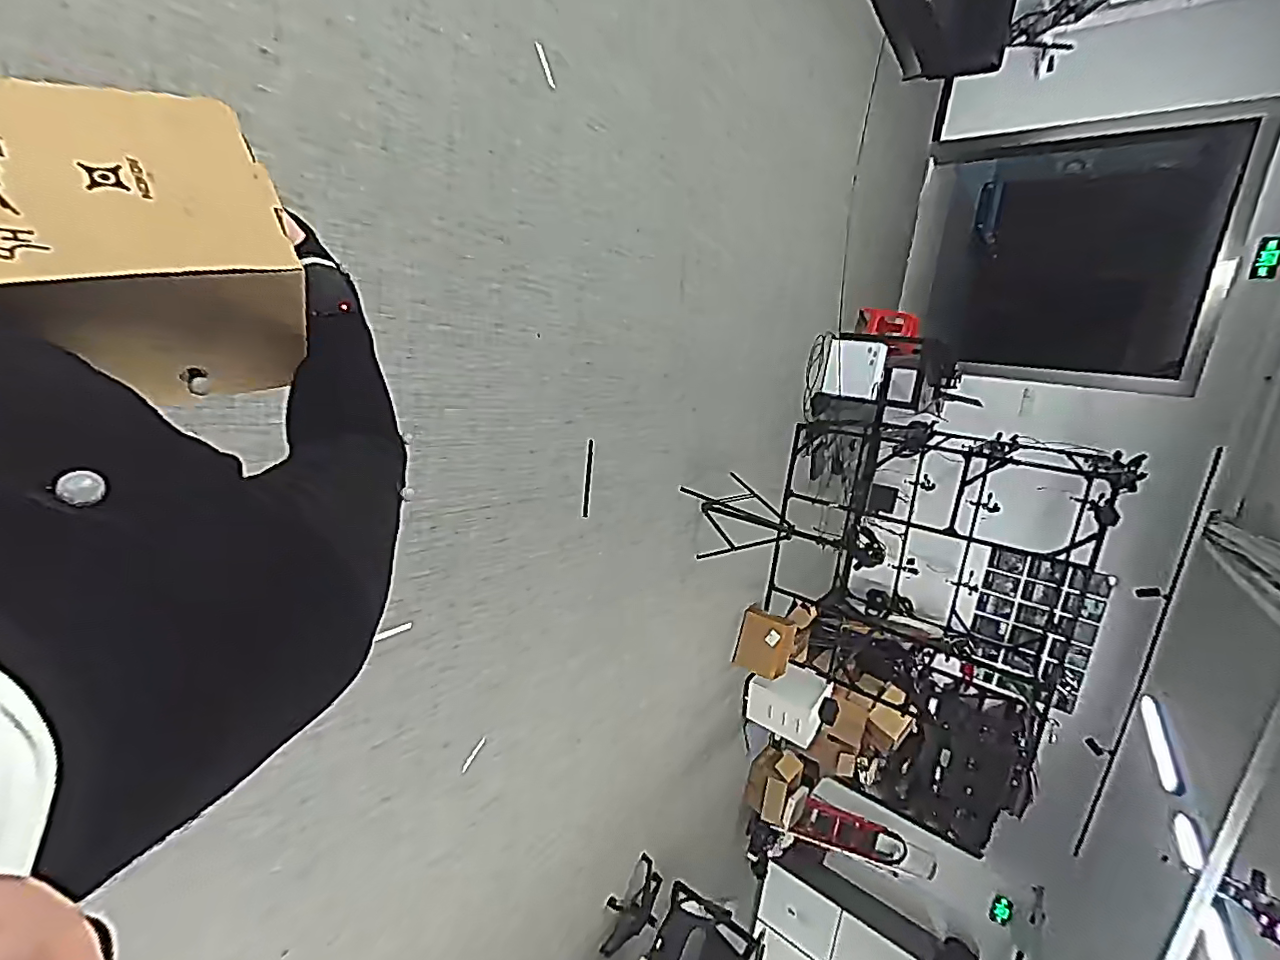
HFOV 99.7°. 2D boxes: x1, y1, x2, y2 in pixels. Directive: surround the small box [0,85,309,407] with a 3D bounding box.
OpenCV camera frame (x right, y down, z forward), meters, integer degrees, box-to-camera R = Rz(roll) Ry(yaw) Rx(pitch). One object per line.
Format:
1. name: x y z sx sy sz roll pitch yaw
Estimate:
1. small box: -0.405 -0.183 0.457 0.179 0.176 0.168 -20 78 -36
